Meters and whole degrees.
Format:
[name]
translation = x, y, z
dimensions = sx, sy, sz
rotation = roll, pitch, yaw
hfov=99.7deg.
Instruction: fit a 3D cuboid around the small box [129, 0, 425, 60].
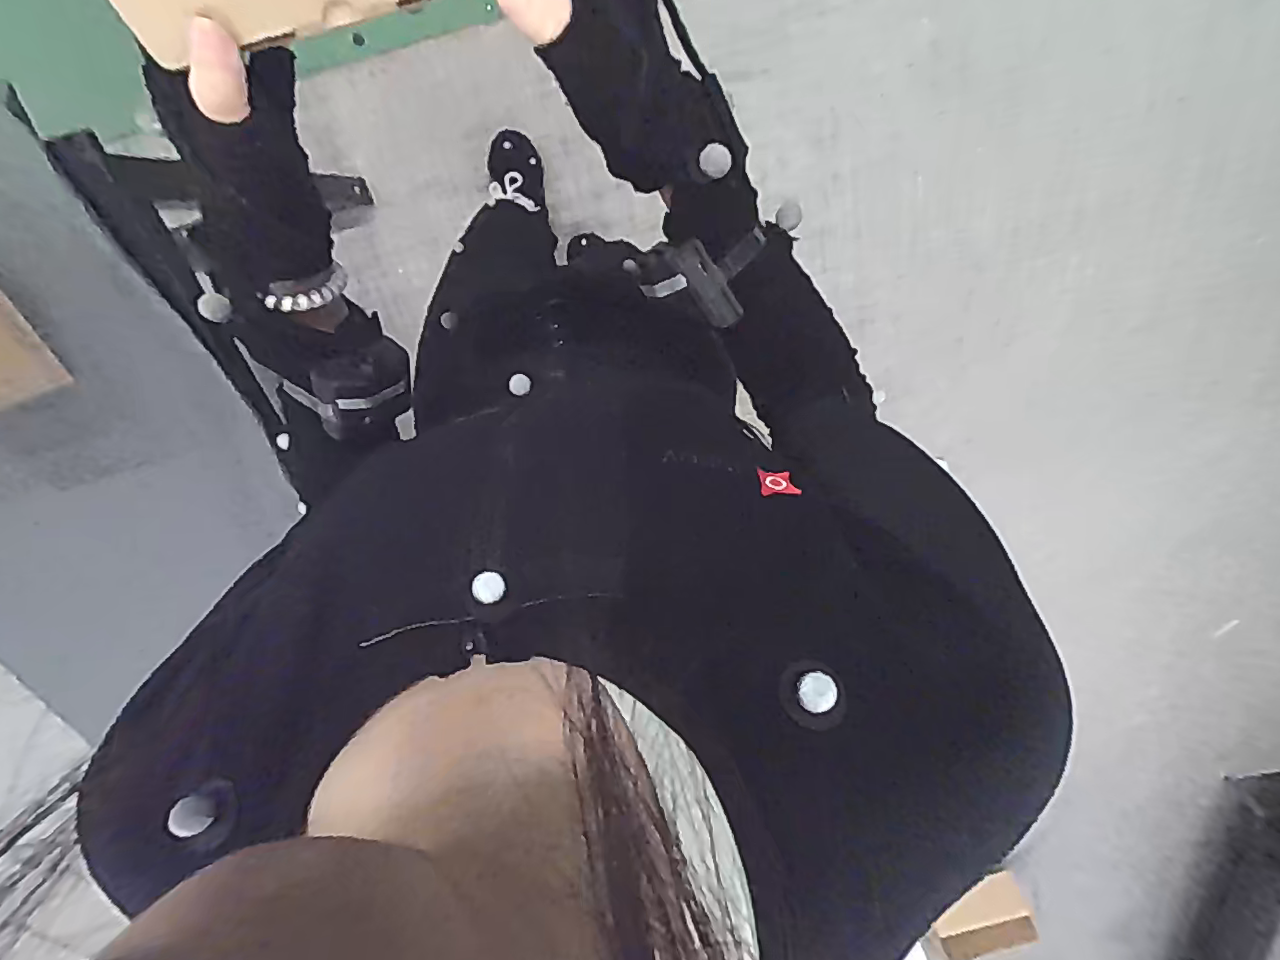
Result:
[small box]
translation = -0.133, -0.300, 0.201
dimensions = 0.168, 0.176, 0.179
rotation = -9, 141, 6
